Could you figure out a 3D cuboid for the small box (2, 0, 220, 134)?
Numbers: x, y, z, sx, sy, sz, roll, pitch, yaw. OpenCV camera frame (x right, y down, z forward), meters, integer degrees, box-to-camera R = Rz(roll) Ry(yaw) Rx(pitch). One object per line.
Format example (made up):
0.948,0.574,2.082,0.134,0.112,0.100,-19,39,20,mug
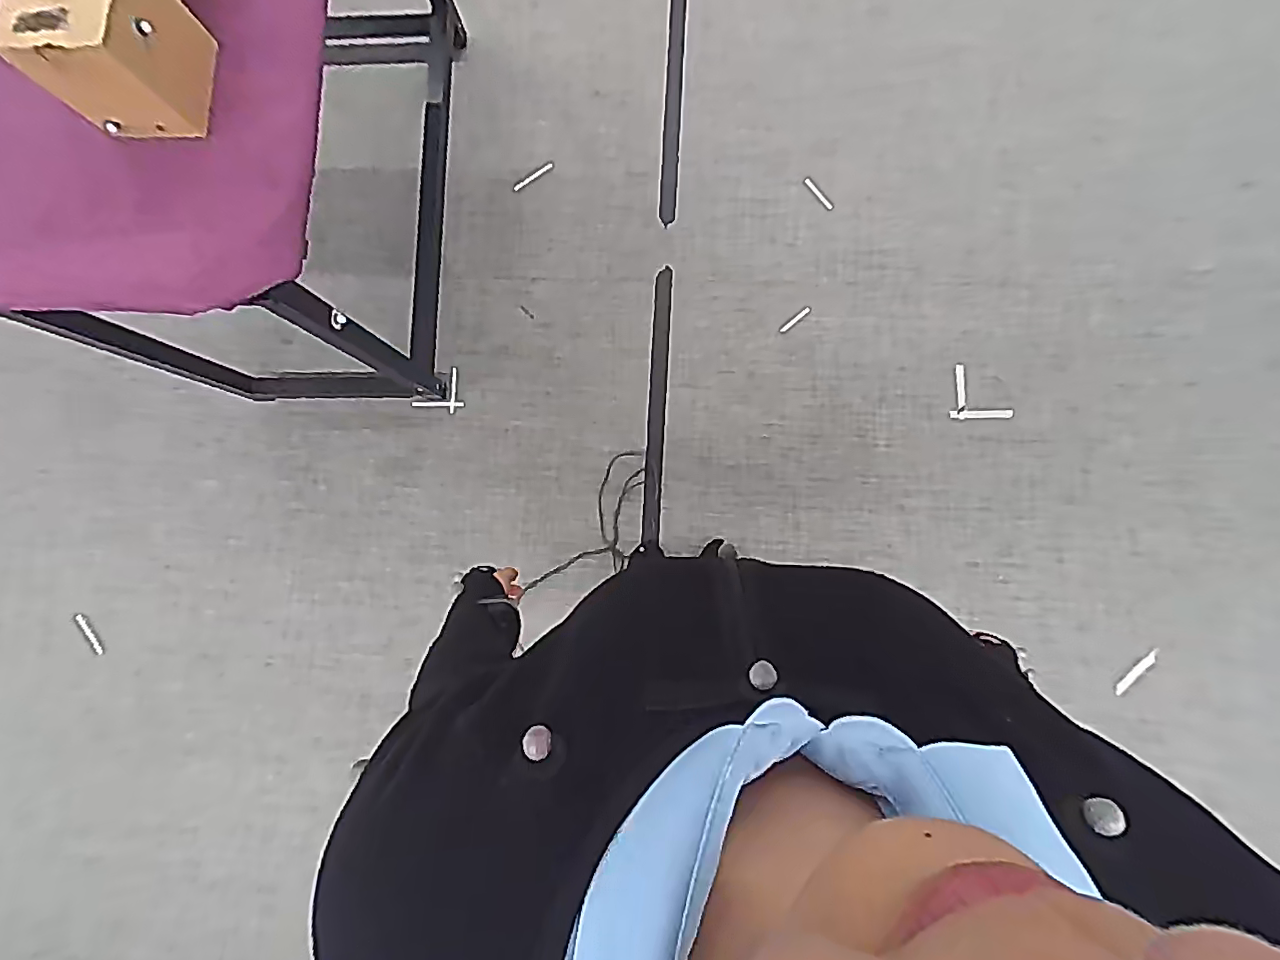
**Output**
-0.792,-0.665,0.829,0.168,0.176,0.179,2,83,2,small box
